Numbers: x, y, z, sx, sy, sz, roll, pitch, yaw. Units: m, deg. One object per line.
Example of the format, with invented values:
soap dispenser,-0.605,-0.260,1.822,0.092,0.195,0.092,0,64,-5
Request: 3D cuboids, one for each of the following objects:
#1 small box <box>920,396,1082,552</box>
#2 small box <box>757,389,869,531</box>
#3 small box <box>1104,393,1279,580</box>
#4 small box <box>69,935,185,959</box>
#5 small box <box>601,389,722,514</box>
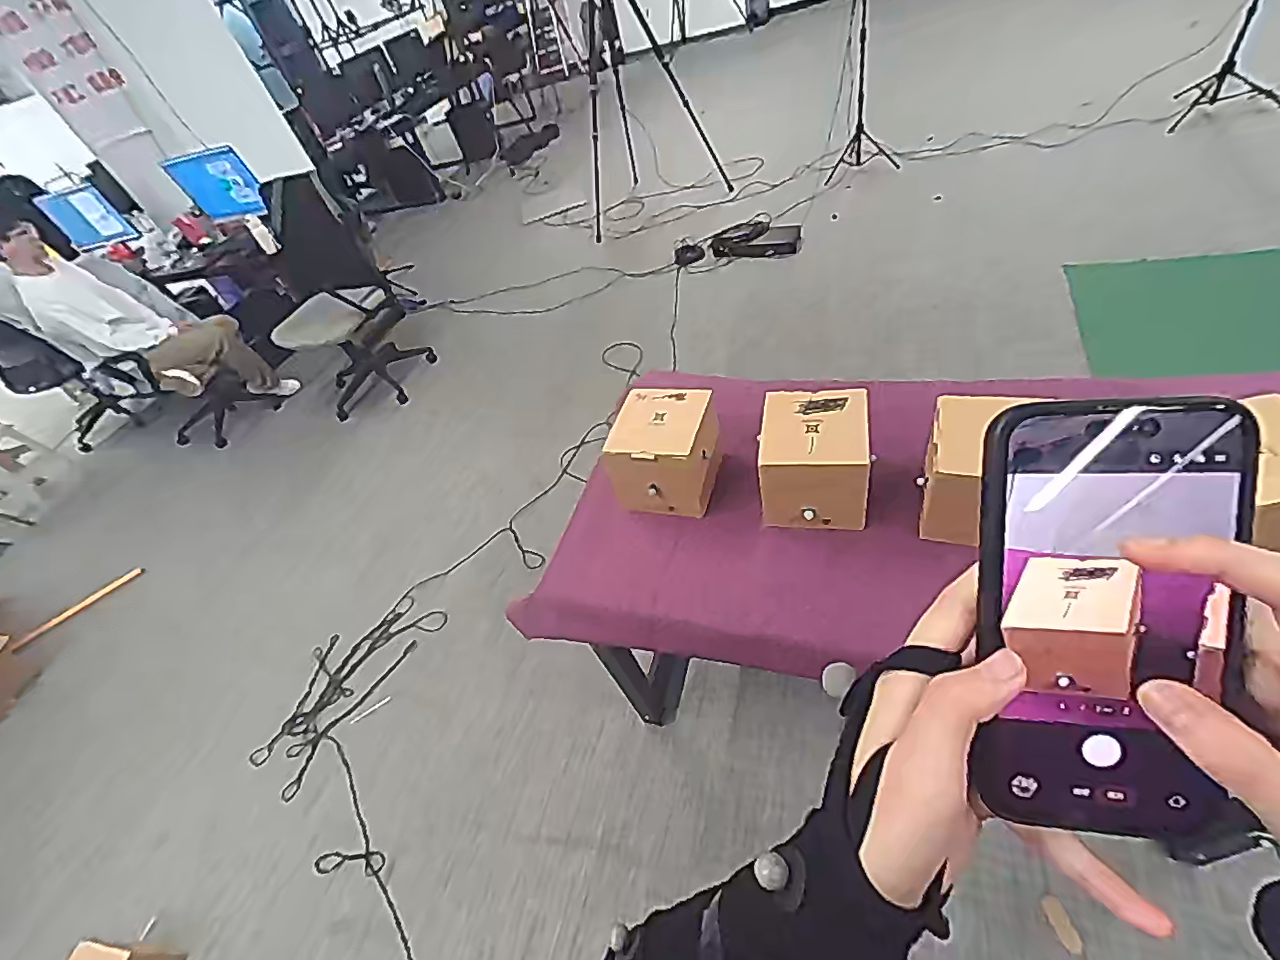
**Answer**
small box,0.535,-0.009,0.824,0.179,0.176,0.168,7,52,25
small box,0.299,-0.035,0.929,0.168,0.176,0.179,1,49,20
small box,0.770,0.015,0.719,0.179,0.176,0.168,-12,45,9
small box,-1.277,1.229,1.312,0.179,0.176,0.168,-3,48,17
small box,0.051,-0.054,1.032,0.168,0.176,0.179,5,51,23
